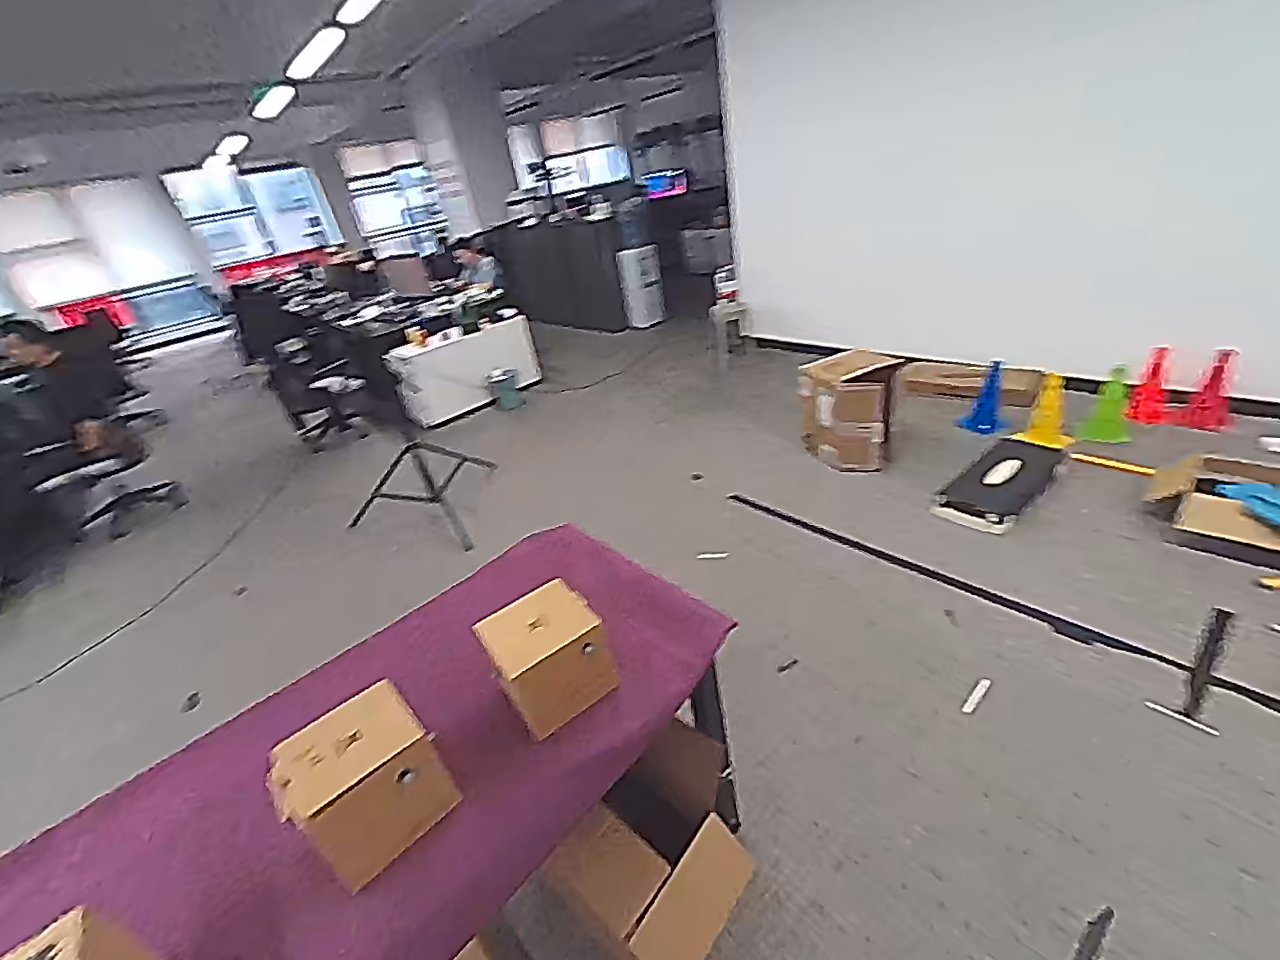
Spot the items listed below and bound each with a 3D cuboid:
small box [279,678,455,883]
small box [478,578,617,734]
[{"bbox_3d":[-0.408,0.454,0.831,0.179,0.176,0.168,-32,34,-32],"label":"small box"},{"bbox_3d":[-0.164,0.318,0.983,0.179,0.176,0.168,-27,34,-26],"label":"small box"}]
